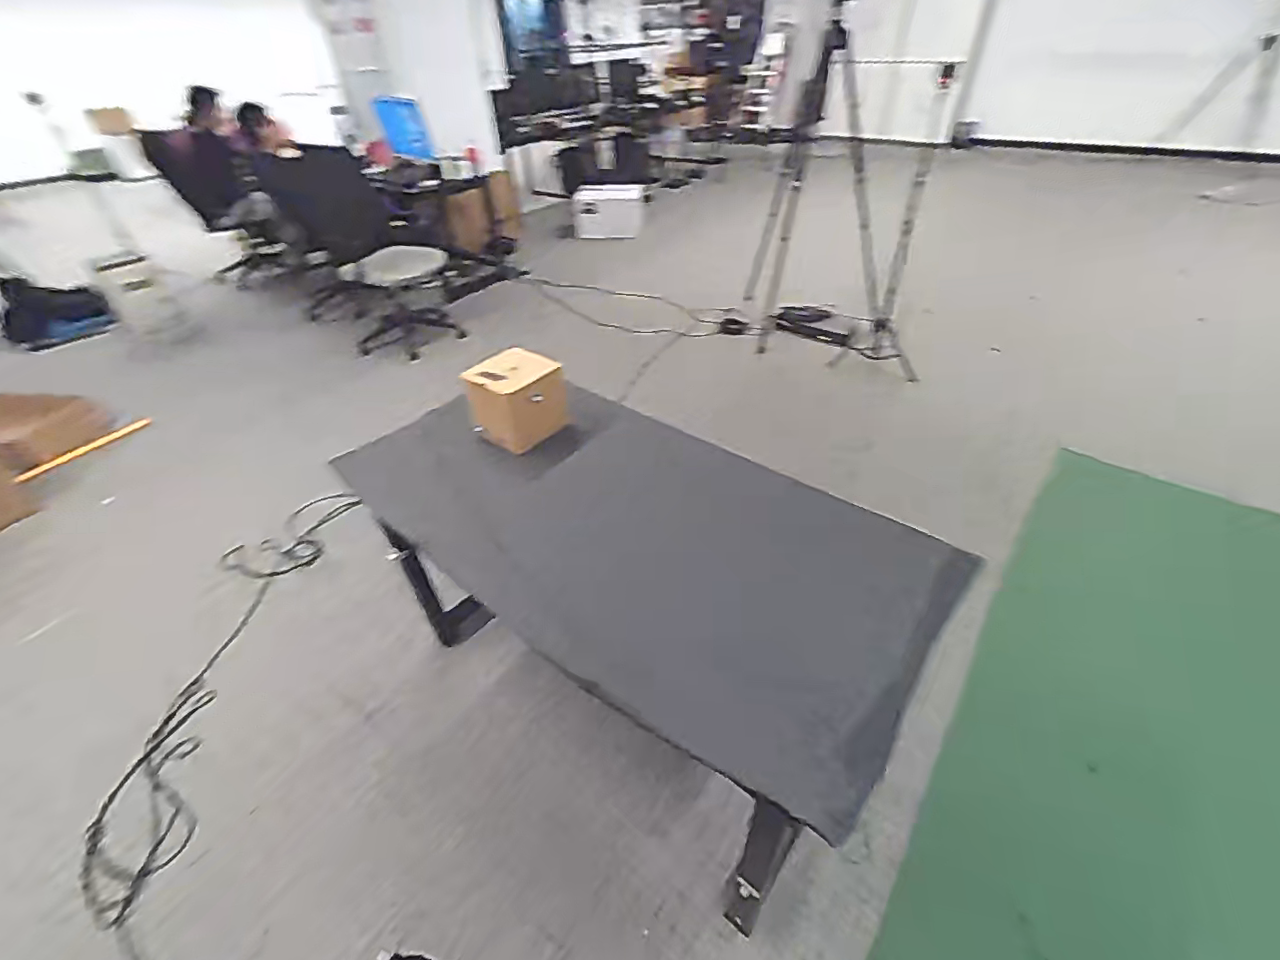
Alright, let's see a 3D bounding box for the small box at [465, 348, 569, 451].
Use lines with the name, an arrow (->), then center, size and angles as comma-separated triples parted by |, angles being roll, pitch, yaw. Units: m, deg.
small box -> -0.291, -0.195, 1.321 | 0.168, 0.176, 0.179 | 26, 48, 29
